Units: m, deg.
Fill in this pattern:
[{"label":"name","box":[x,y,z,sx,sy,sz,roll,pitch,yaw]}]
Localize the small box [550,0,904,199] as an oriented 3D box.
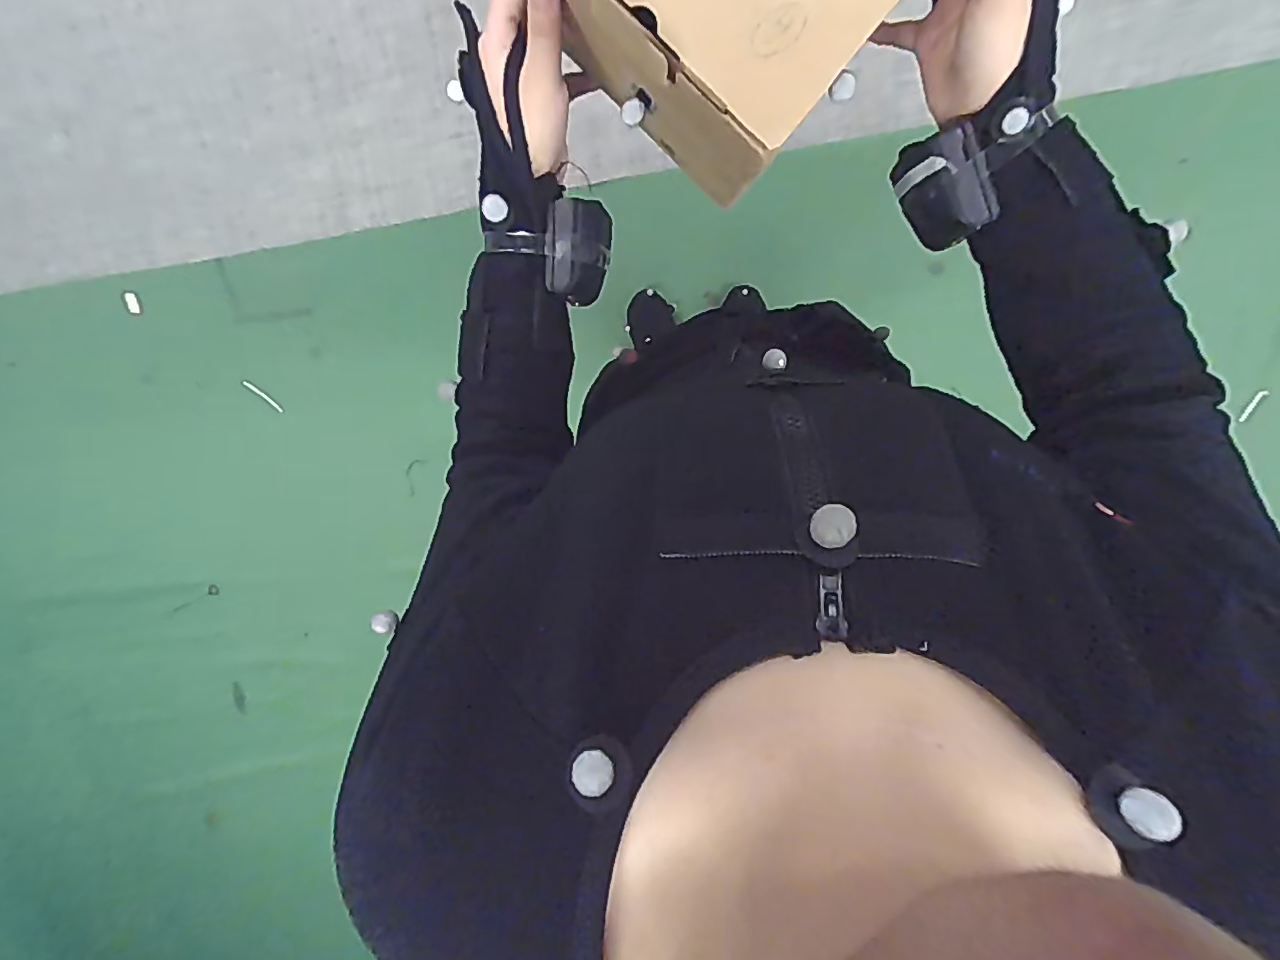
[{"label":"small box","box":[0.058,-0.295,0.308,0.168,0.176,0.179,39,106,-11]}]
